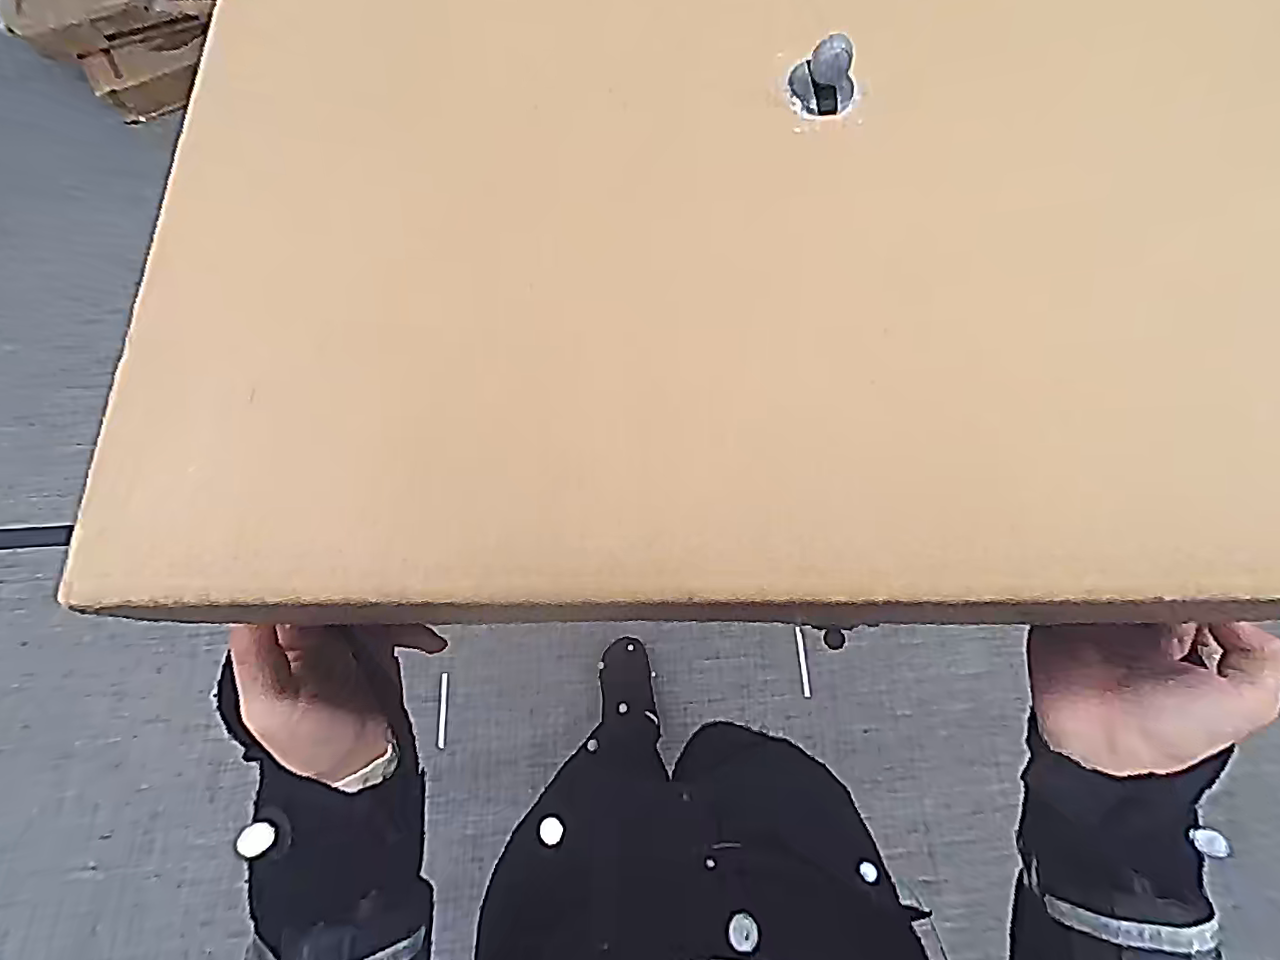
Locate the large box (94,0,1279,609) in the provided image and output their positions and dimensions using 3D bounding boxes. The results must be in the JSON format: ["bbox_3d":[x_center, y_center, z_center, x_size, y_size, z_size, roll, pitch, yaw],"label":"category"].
[{"bbox_3d":[0.048,-0.088,0.323,0.408,0.320,0.320,0,76,-2],"label":"large box"}]
